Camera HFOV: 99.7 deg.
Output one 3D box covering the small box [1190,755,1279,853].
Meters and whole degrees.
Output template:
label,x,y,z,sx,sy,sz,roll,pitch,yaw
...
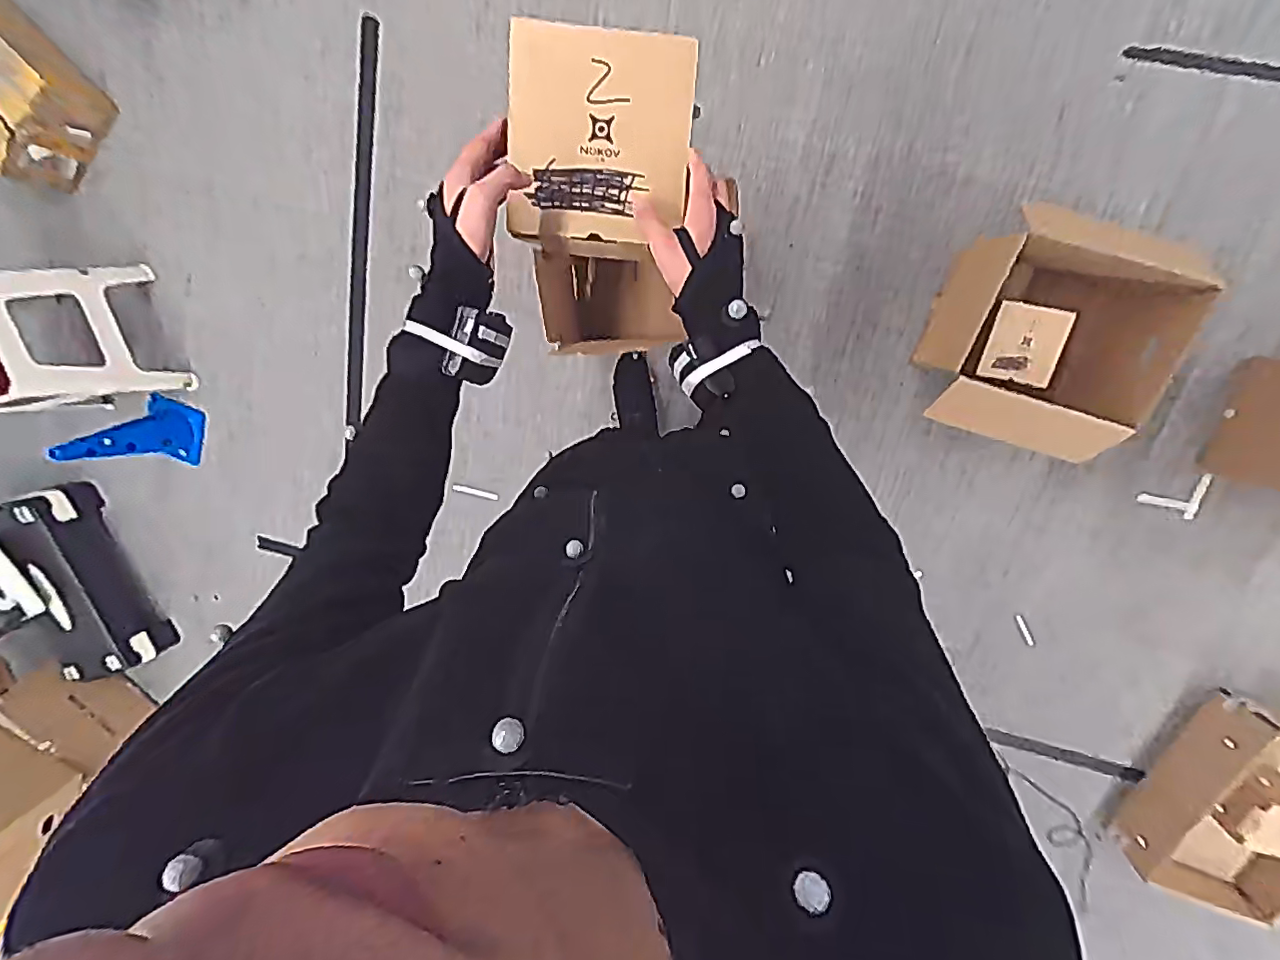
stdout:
label,x,y,z,sx,sy,sz,roll,pitch,yaw
small box,1.783,0.936,1.569,0.179,0.176,0.168,14,109,3
